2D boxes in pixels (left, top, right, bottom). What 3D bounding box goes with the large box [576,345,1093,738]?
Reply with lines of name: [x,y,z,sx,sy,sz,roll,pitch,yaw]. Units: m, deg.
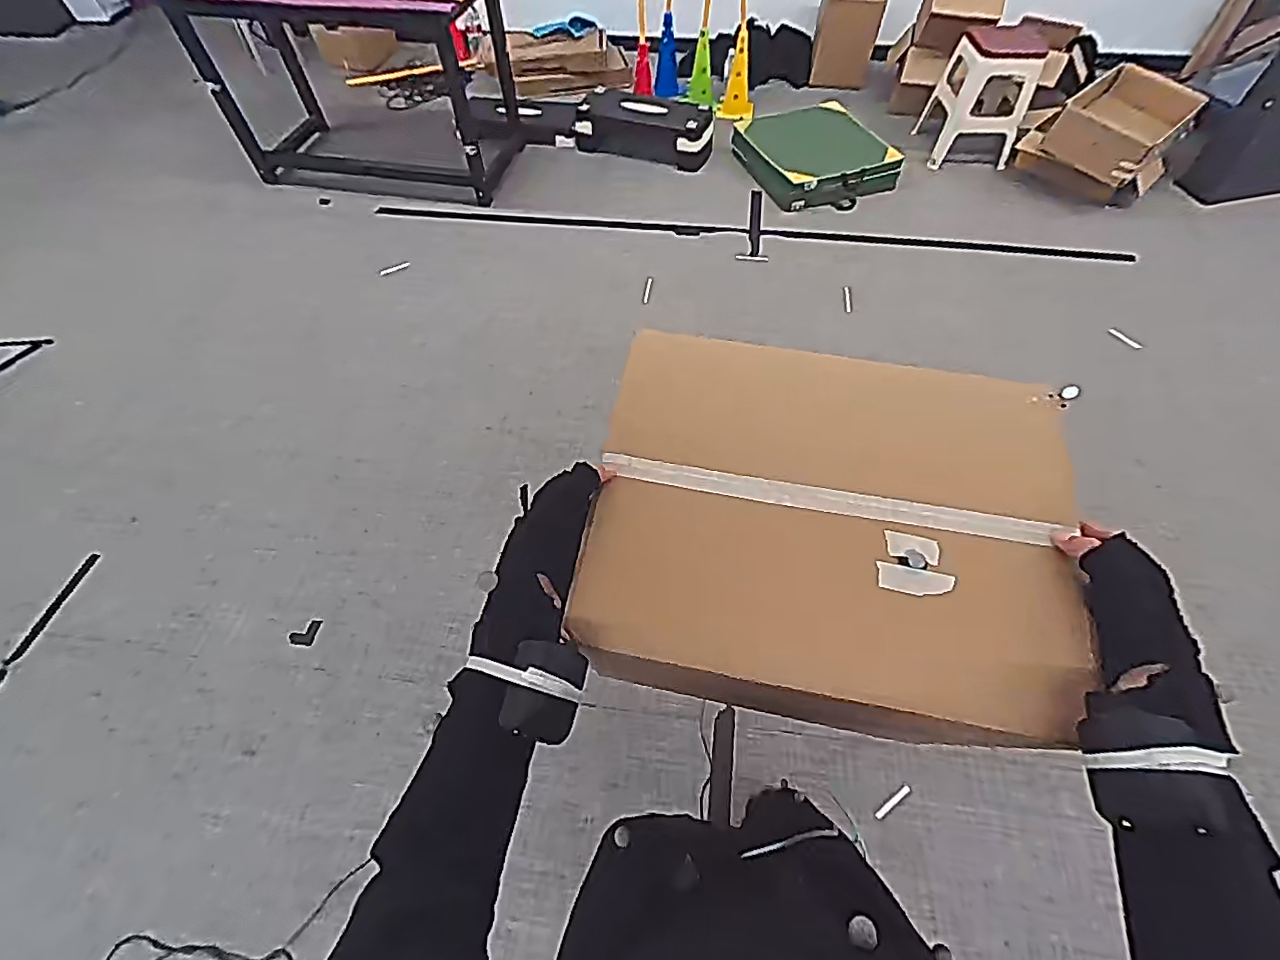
large box: [0.168,0.087,0.611,0.408,0.320,0.320,9,67,5]
